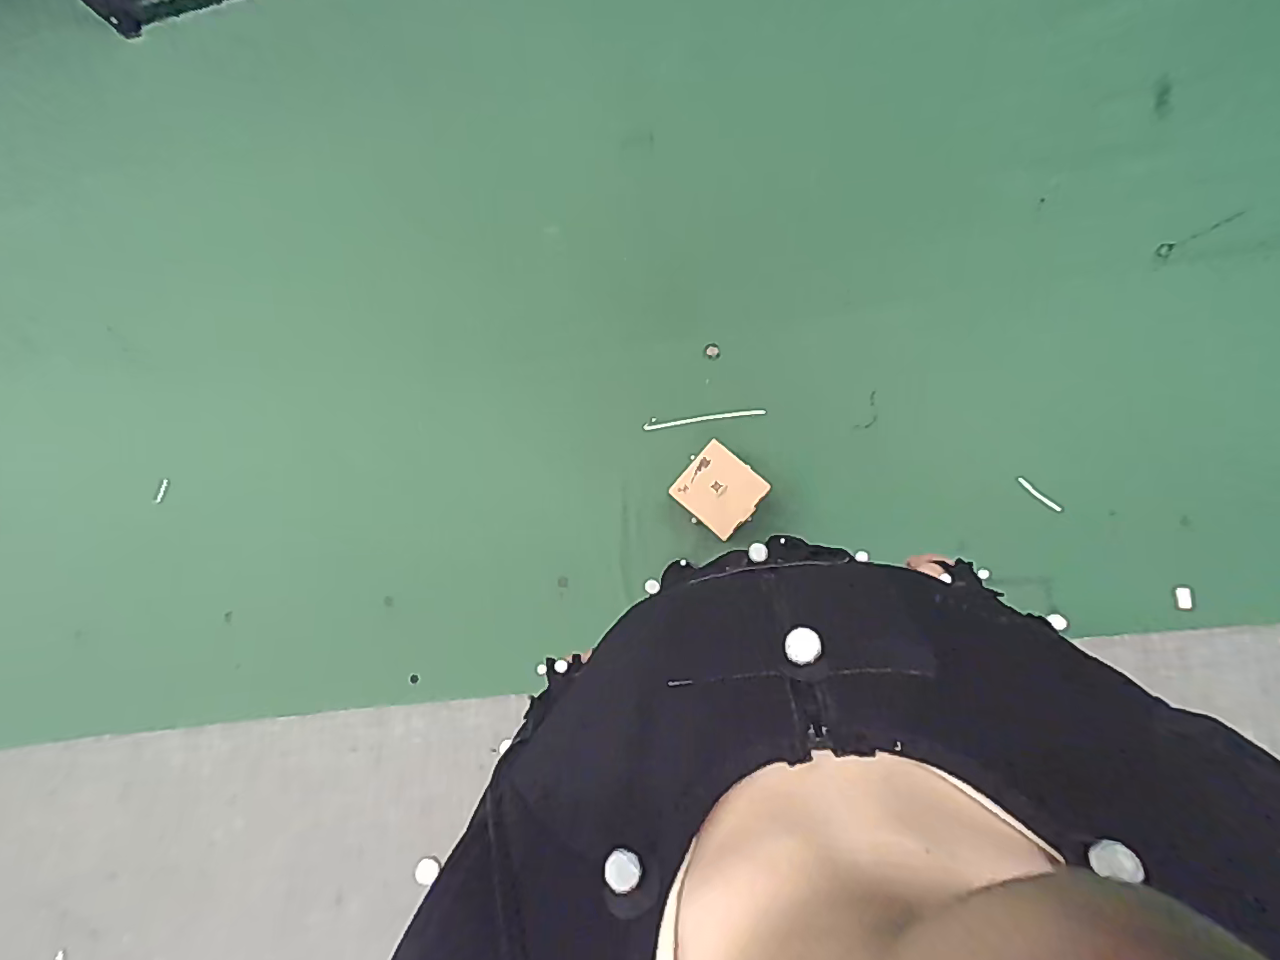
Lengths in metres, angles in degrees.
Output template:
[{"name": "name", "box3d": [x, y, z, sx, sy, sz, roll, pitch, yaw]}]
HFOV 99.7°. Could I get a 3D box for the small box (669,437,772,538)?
[{"name": "small box", "box3d": [0.193, 0.019, 1.304, 0.179, 0.176, 0.168, 41, 91, 8]}]
